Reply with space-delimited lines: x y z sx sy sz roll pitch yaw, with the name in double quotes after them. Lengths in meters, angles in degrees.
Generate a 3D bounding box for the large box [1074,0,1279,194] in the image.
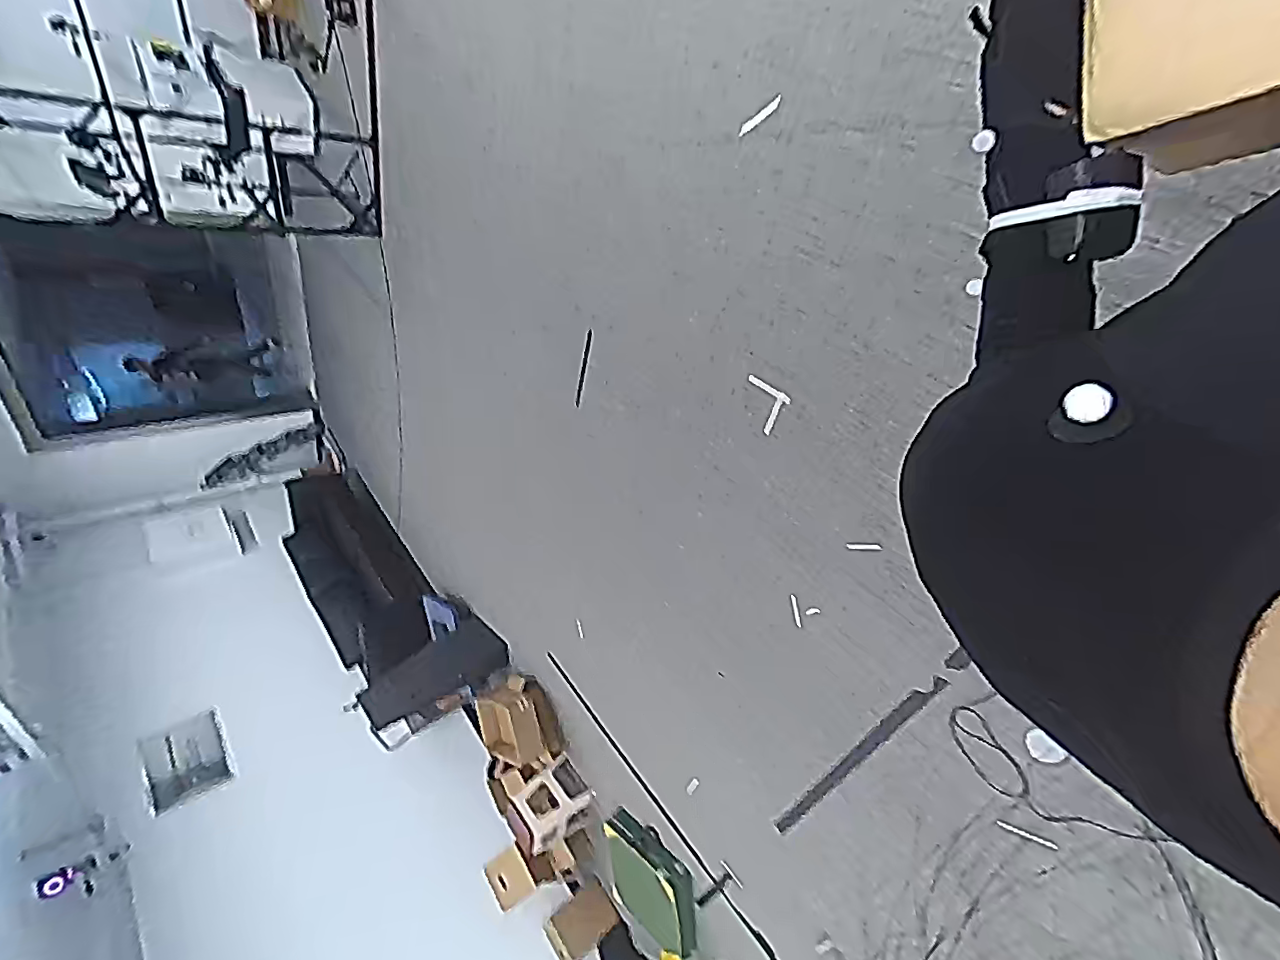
0.529 -0.403 0.305 0.408 0.320 0.320 4 109 50 "large box"
